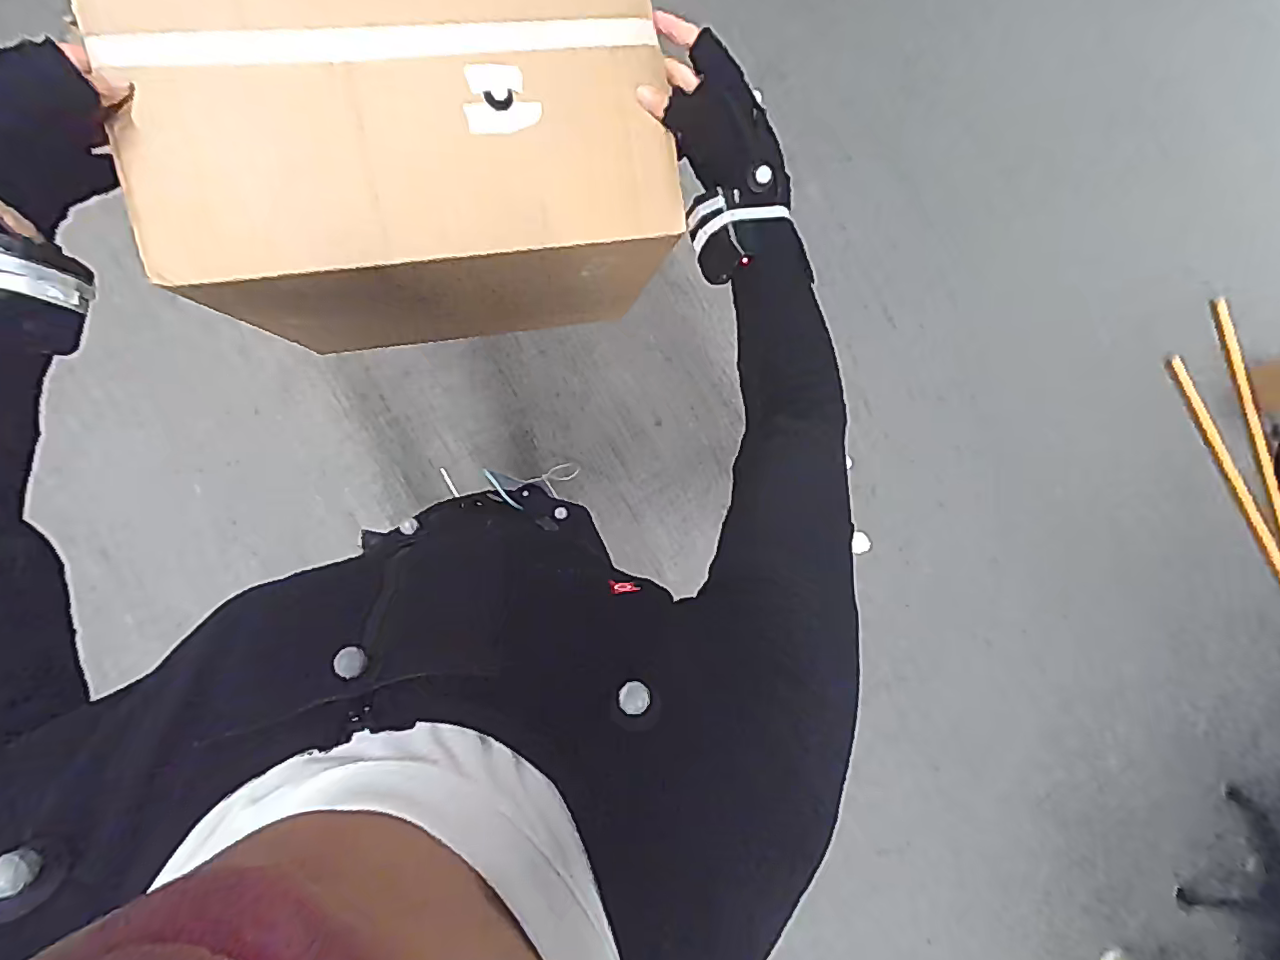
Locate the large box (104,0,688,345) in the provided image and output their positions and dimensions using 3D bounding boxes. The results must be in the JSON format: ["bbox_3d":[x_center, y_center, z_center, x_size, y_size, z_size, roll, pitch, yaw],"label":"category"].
[{"bbox_3d":[-0.207,-0.348,0.559,0.408,0.320,0.320,-12,97,-12],"label":"large box"}]
